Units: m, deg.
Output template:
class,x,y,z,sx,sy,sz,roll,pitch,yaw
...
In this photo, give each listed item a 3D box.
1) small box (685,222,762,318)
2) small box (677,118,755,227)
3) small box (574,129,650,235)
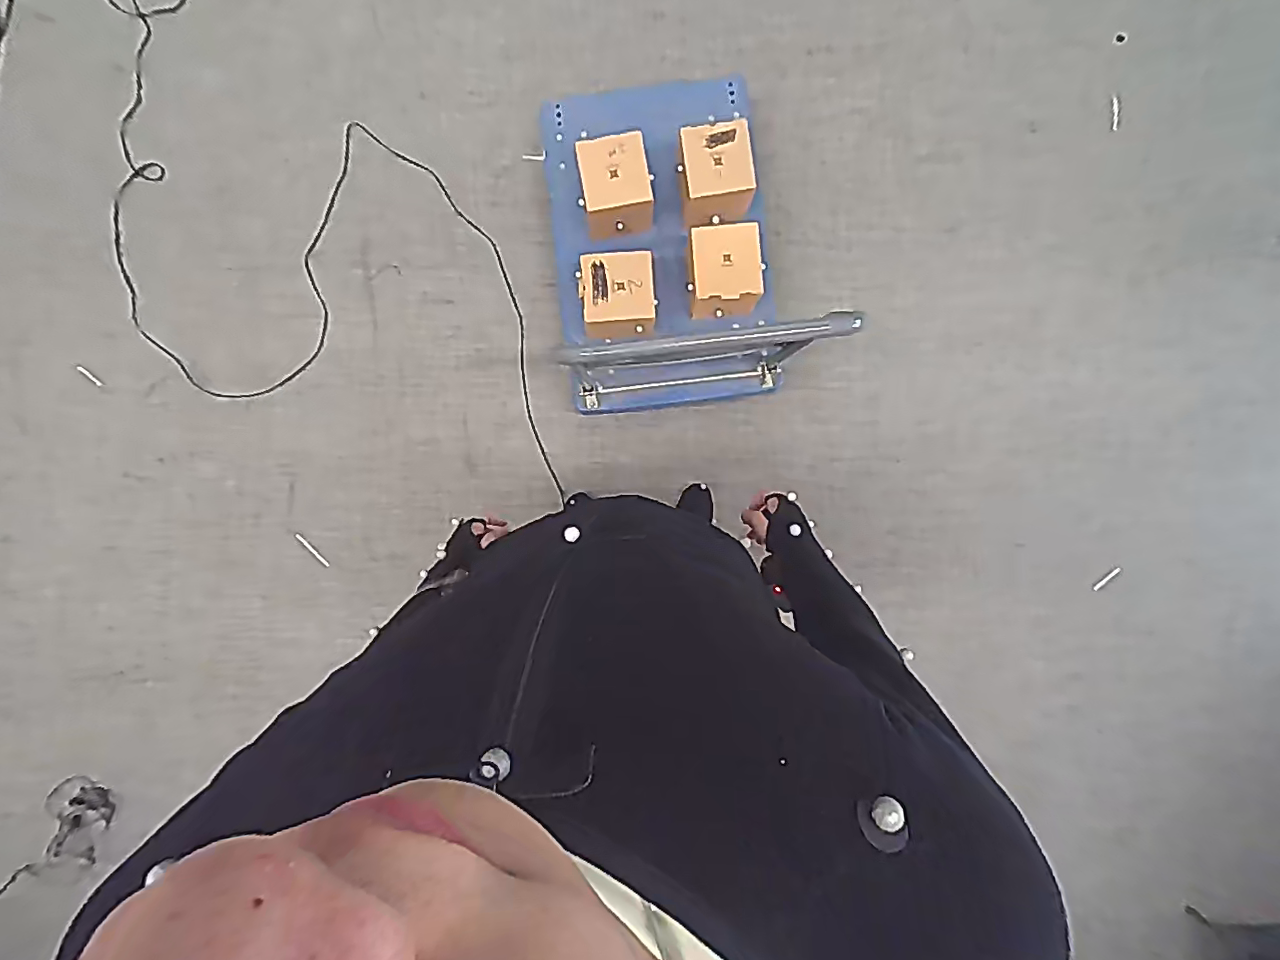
class,x,y,z,sx,sy,sz,roll,pitch,yaw
small box,0.209,-0.532,1.387,0.168,0.176,0.179,-5,89,1
small box,0.188,-0.780,1.384,0.168,0.176,0.179,-8,91,1
small box,-0.066,-0.750,1.386,0.168,0.176,0.179,-10,90,0
